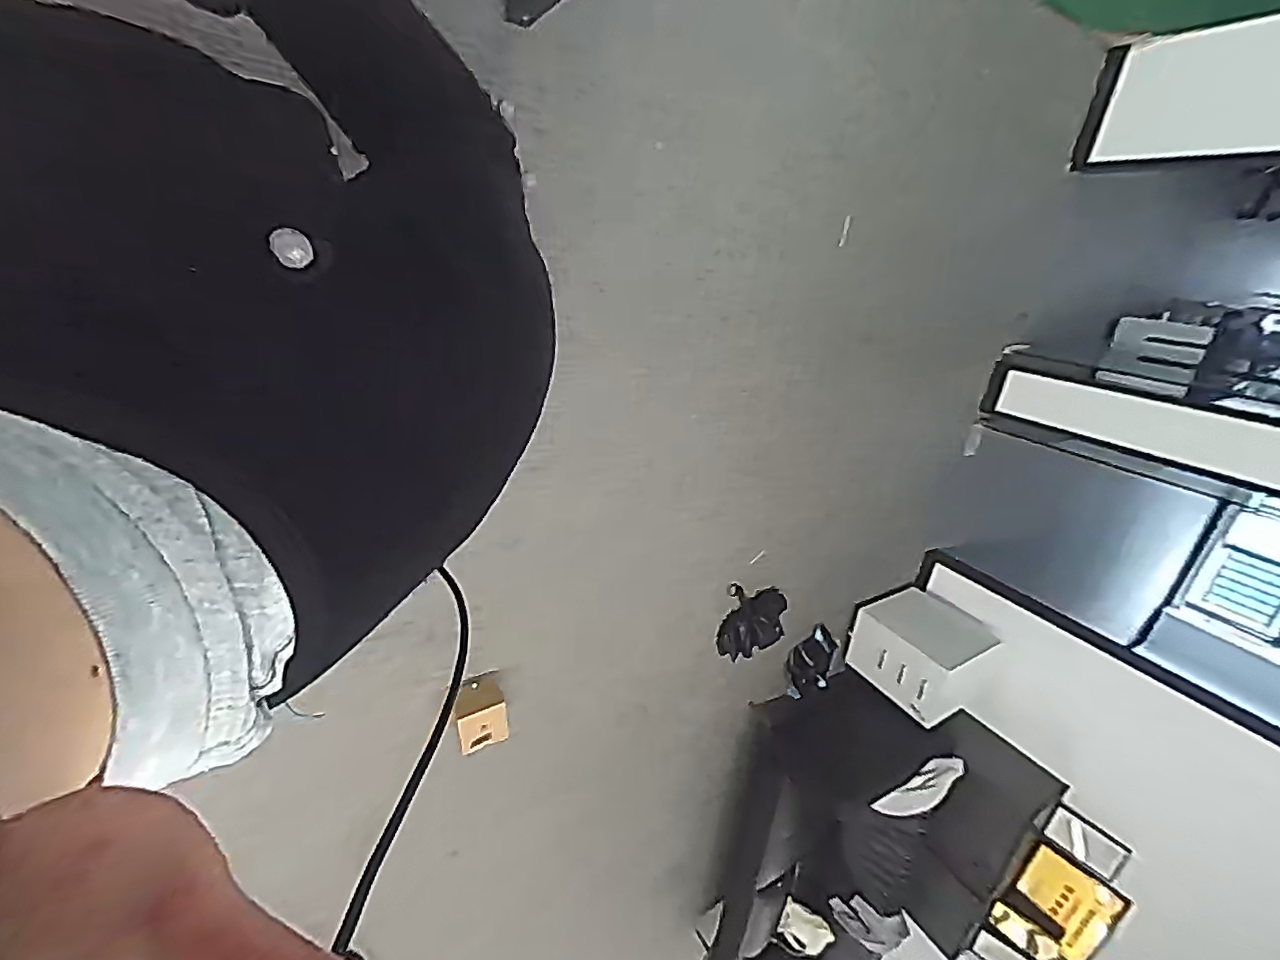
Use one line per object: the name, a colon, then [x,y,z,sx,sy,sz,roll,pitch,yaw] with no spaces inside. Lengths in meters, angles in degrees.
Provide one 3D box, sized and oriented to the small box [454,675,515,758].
small box: [-0.556,0.838,1.928,0.168,0.176,0.179,-13,118,-28]
